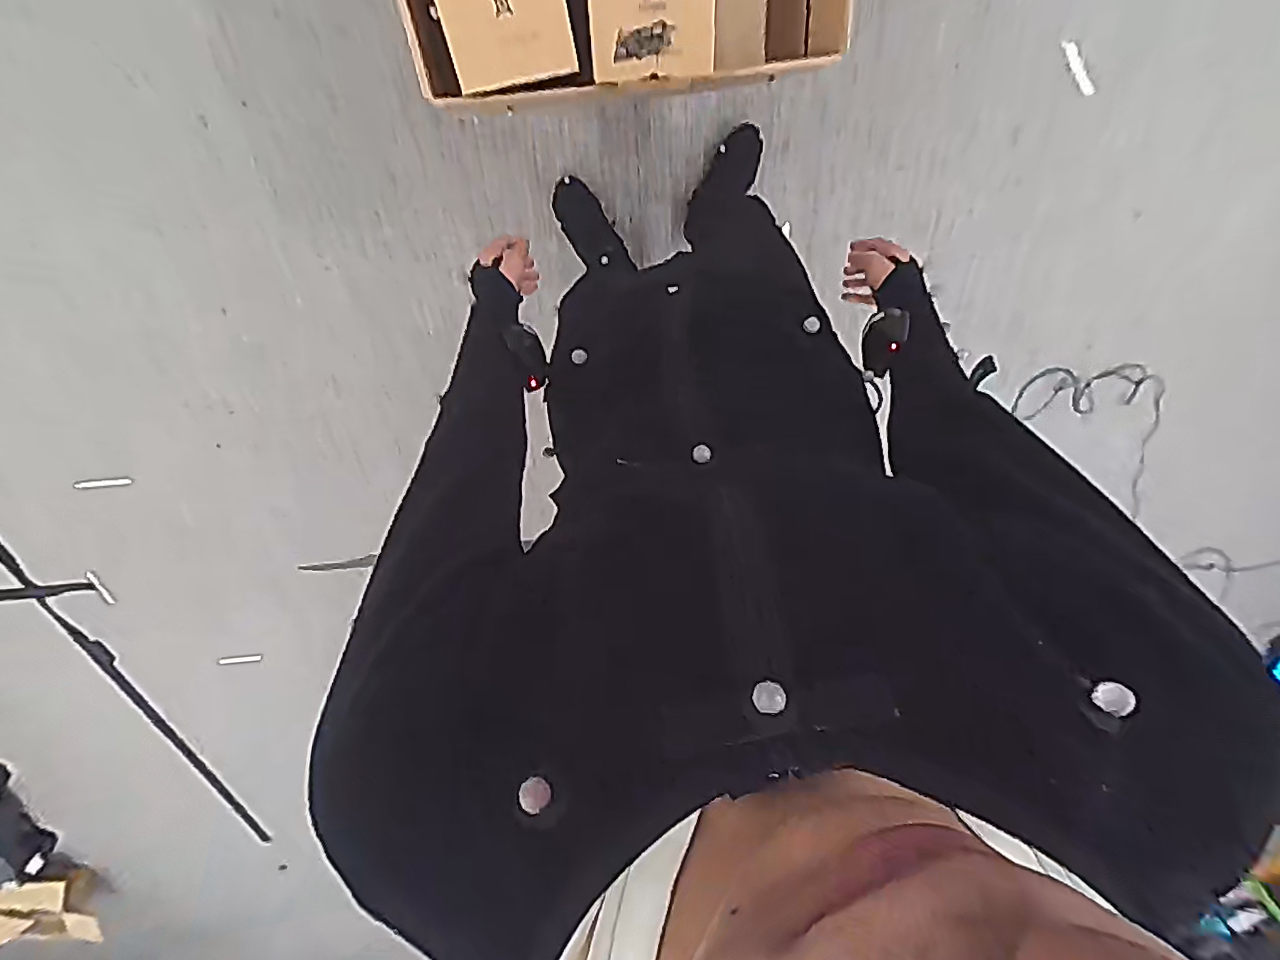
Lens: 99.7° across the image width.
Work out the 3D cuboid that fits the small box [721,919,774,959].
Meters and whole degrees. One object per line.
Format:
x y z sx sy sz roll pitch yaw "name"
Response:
0.405 1.795 2.042 0.168 0.176 0.179 -3 123 -5 "small box"
